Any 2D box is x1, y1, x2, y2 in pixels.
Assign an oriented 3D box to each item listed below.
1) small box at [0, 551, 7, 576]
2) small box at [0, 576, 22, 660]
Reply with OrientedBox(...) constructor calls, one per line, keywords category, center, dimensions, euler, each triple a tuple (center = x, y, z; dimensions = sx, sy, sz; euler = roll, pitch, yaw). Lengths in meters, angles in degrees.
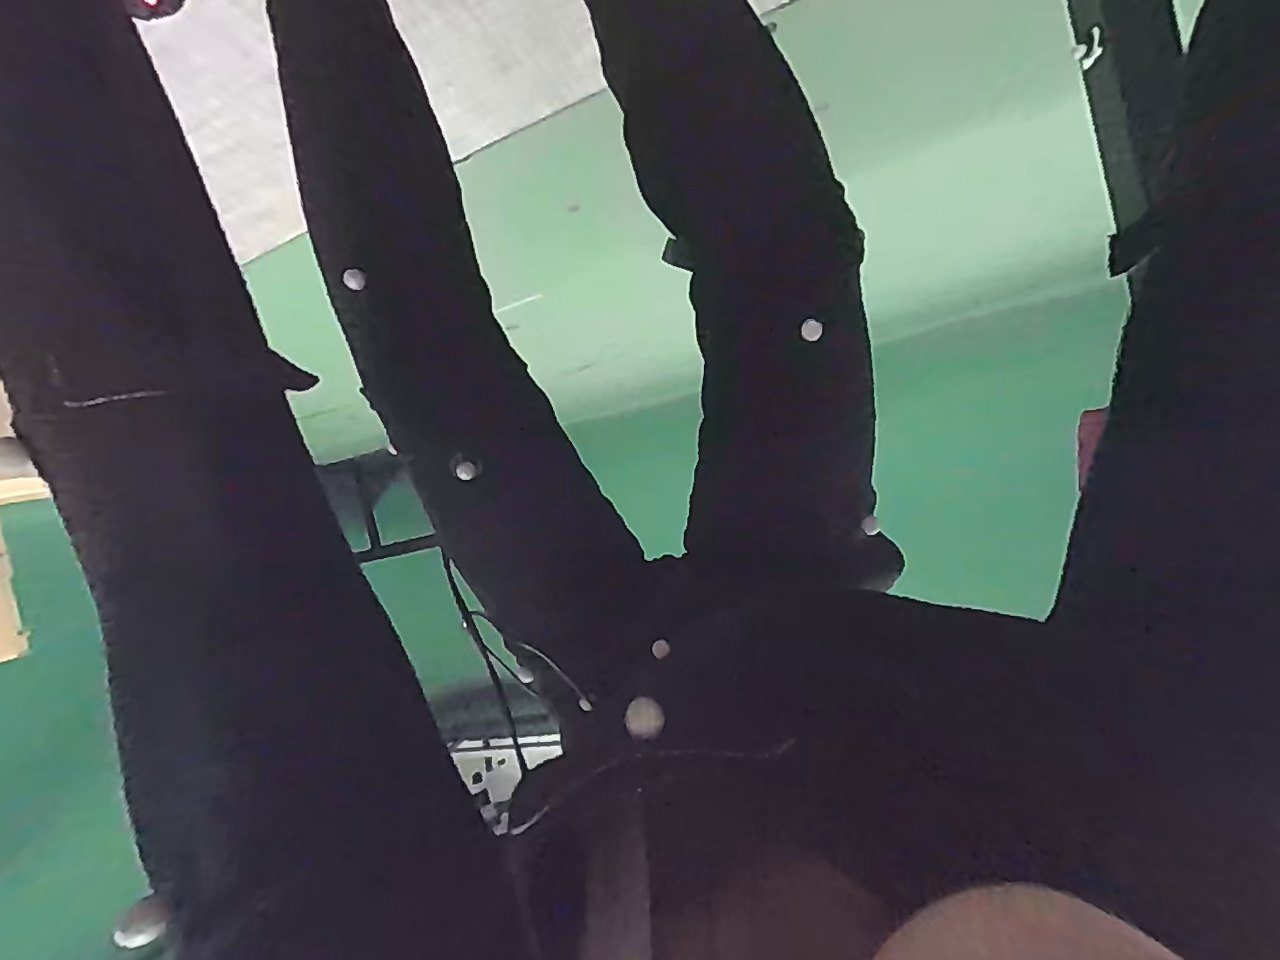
OrientedBox(category="small box", center=(-1.374, 0.124, 1.035), dimensions=(0.168, 0.176, 0.179), euler=(-15, -179, -40))
OrientedBox(category="small box", center=(-1.326, 0.281, 1.028), dimensions=(0.168, 0.176, 0.179), euler=(-16, -179, -44))
